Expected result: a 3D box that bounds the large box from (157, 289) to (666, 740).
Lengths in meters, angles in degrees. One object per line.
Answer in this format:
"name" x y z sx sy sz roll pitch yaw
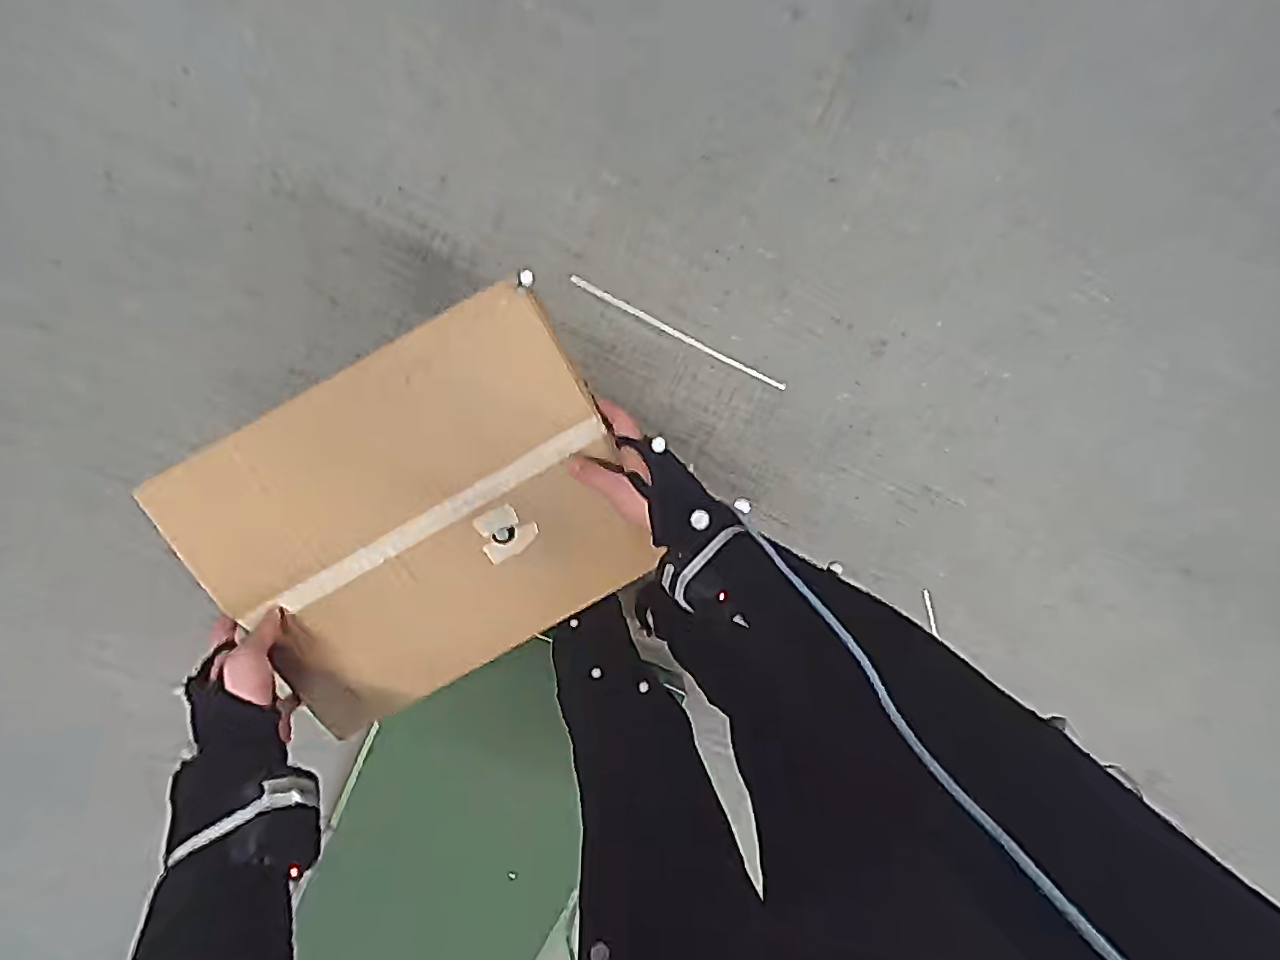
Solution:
"large box" -0.230 0.022 0.682 0.408 0.320 0.320 -30 104 1
